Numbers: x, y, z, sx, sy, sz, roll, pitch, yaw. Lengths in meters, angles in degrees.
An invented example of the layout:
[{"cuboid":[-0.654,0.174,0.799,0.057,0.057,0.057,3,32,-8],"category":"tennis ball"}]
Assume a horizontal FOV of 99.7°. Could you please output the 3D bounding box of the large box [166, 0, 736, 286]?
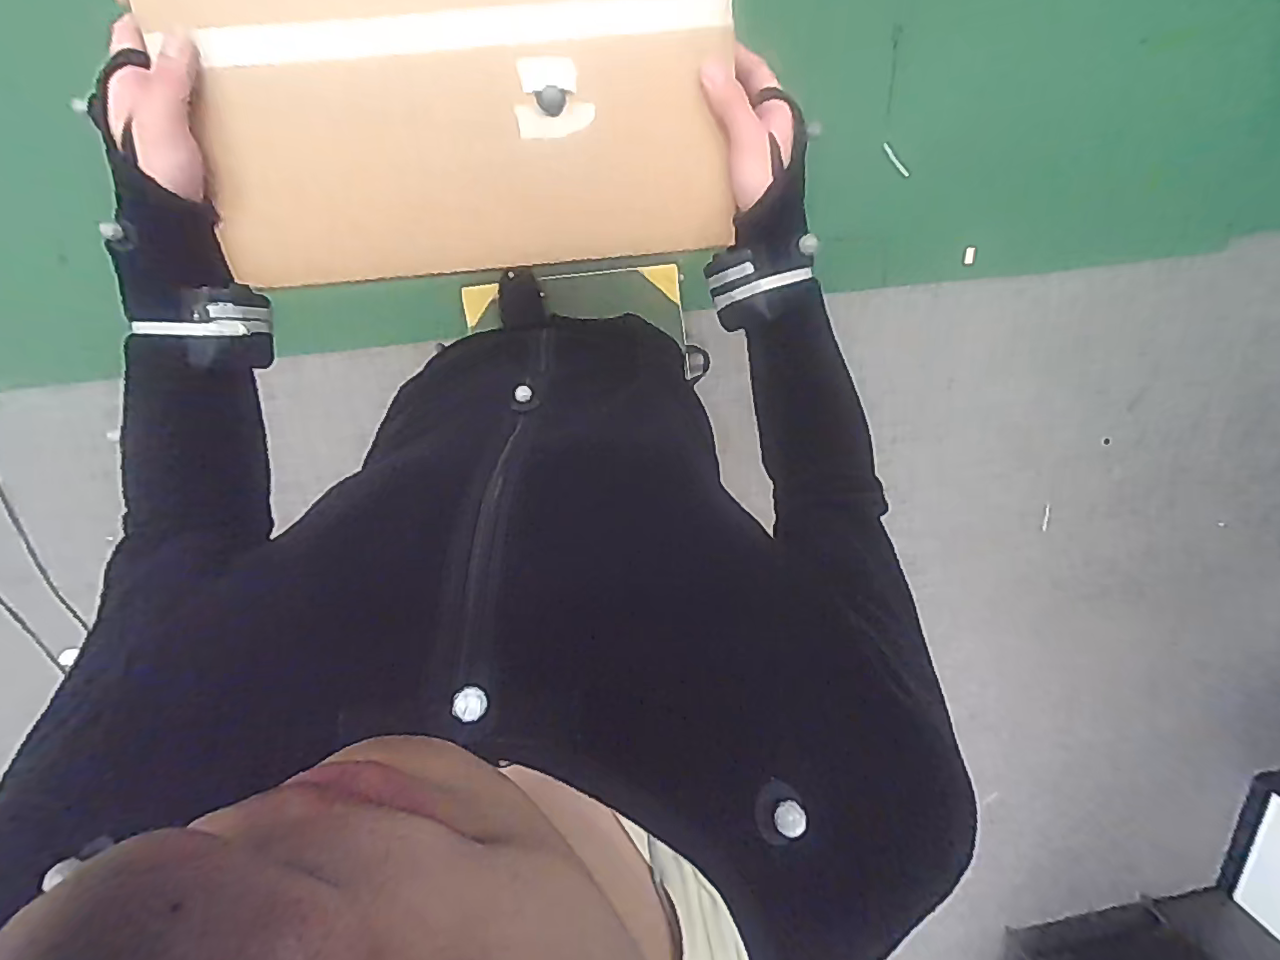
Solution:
[{"cuboid":[-0.145,-0.381,0.533,0.408,0.320,0.320,-7,113,-3],"category":"large box"}]
